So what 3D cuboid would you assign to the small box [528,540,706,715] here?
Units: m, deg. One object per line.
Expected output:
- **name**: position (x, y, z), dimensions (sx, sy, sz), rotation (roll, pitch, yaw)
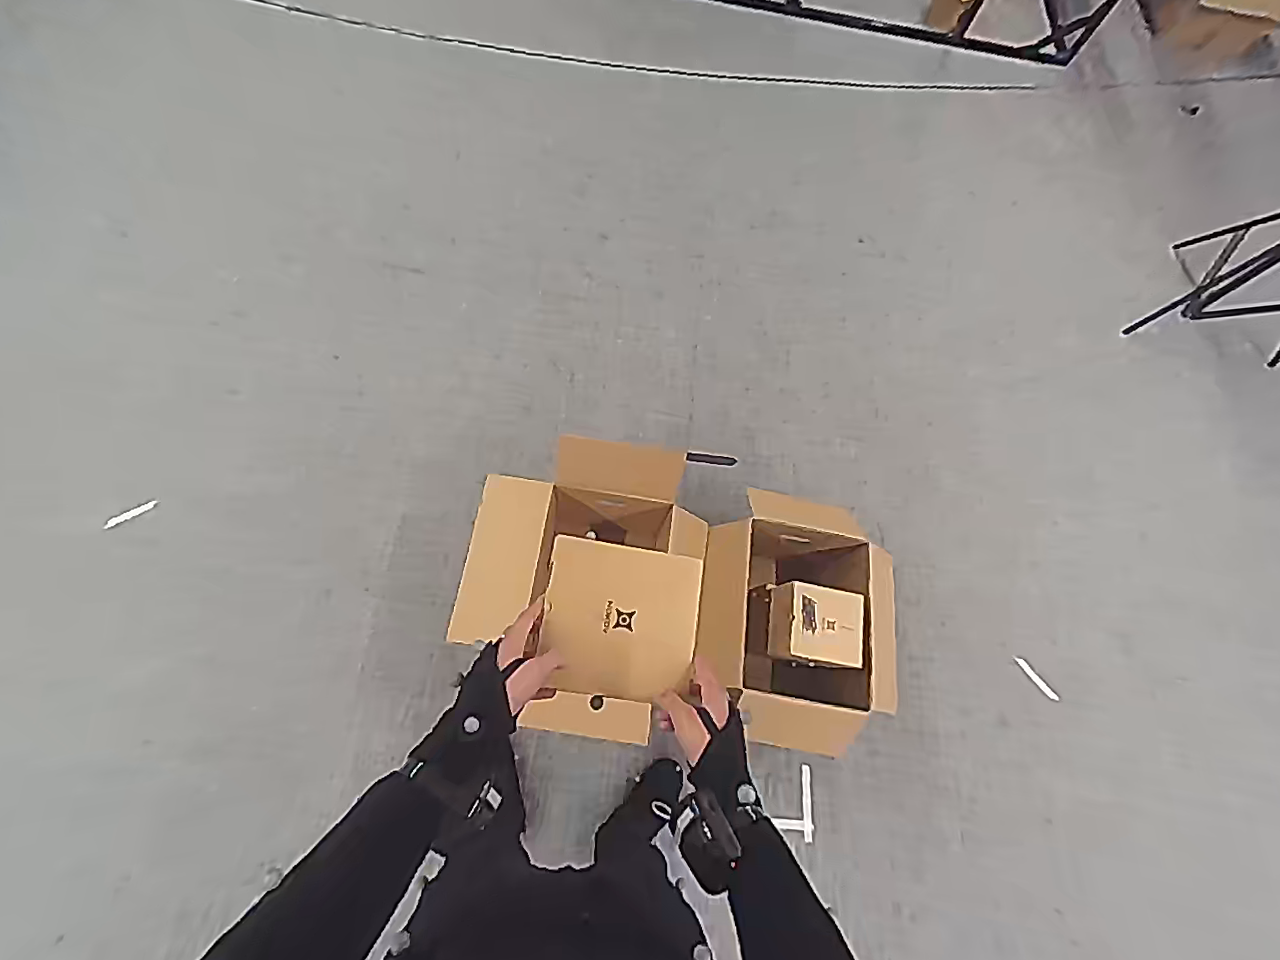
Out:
- **small box**: position (-0.030, 0.179, 0.669), dimensions (0.179, 0.176, 0.168), rotation (10, 73, -4)
